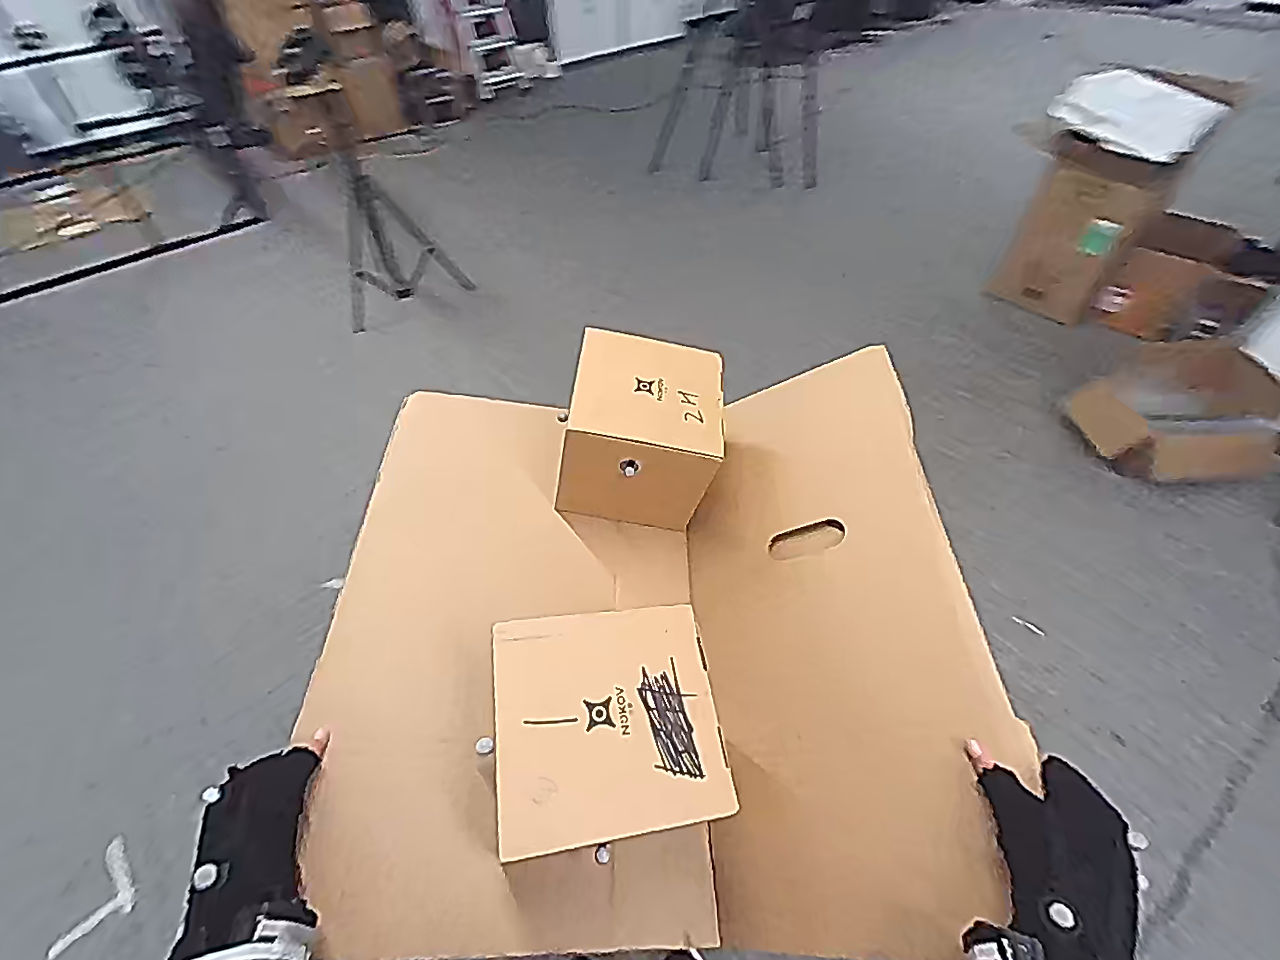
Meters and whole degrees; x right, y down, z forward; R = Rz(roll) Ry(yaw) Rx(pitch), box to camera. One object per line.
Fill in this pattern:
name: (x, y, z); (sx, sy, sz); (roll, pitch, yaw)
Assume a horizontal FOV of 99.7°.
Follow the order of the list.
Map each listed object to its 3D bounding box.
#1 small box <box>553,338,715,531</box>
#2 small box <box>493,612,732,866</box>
small box: (-0.012, -0.051, 0.697); (0.179, 0.176, 0.168); (10, 55, -8)
small box: (-0.041, 0.234, 0.494); (0.179, 0.176, 0.168); (-3, 57, -15)
